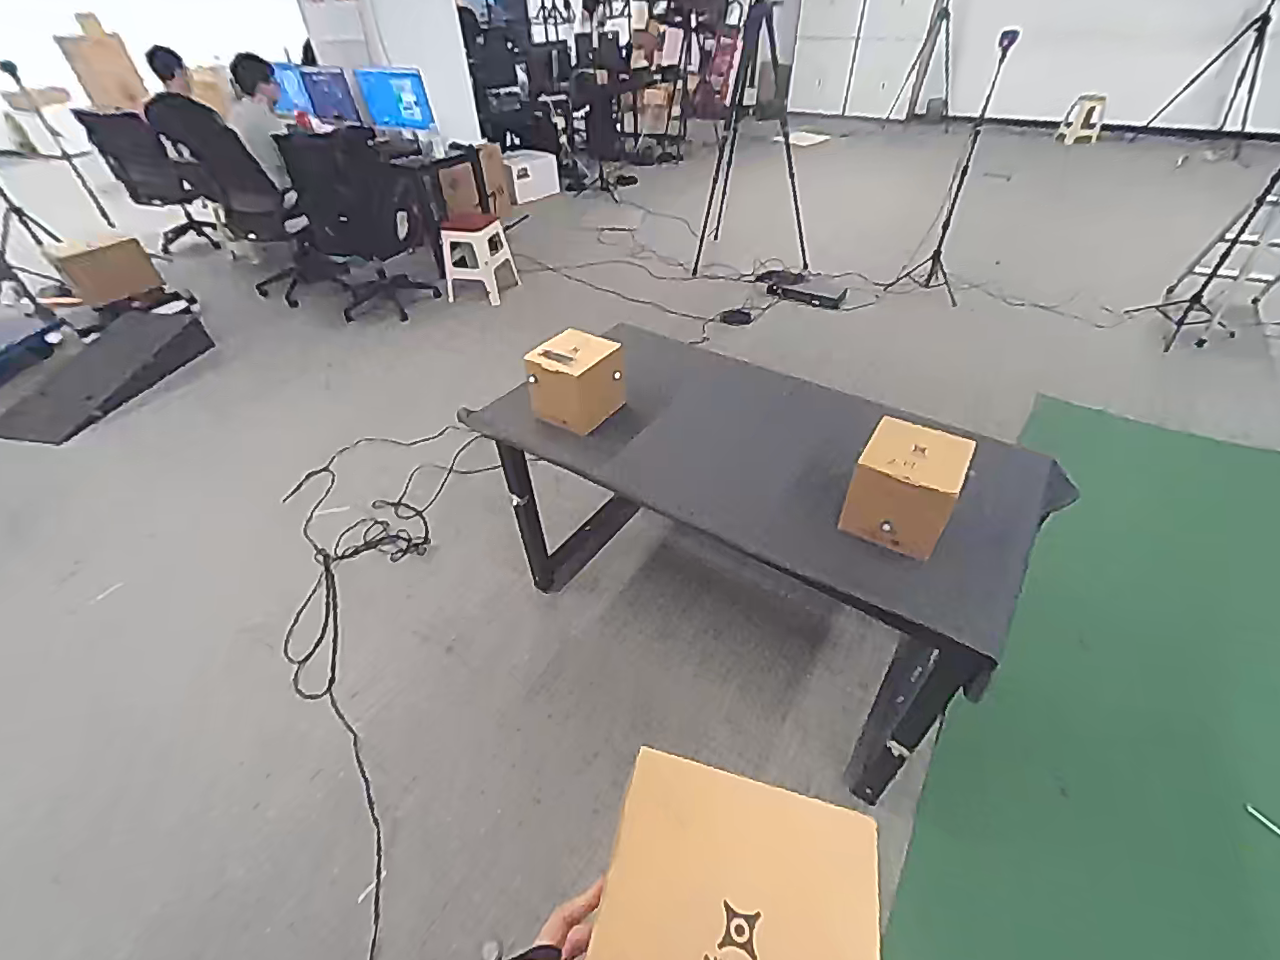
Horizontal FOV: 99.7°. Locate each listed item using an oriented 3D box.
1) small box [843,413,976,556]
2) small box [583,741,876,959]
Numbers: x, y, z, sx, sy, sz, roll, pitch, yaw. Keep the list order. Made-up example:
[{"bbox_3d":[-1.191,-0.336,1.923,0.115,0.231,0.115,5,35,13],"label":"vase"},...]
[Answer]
[{"bbox_3d":[0.496,0.006,1.012,0.168,0.176,0.179,22,47,27],"label":"small box"},{"bbox_3d":[0.051,0.320,0.382,0.168,0.176,0.179,14,49,7],"label":"small box"}]
